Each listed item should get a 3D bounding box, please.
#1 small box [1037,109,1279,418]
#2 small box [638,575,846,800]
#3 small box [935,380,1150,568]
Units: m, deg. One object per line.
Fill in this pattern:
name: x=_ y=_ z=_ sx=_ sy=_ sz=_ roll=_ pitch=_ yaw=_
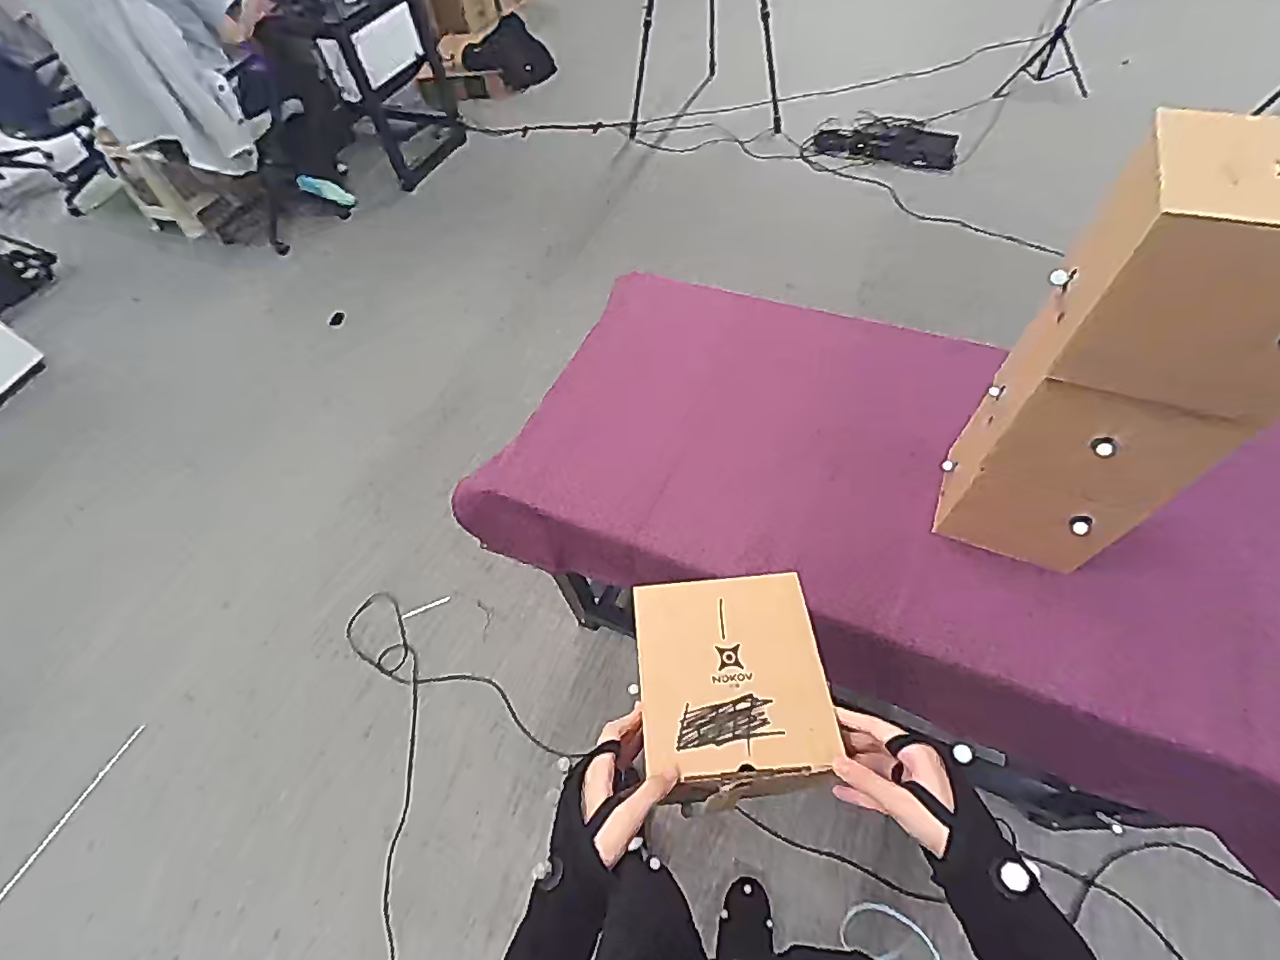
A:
small box: x=0.484 y=-0.177 z=0.459 sx=0.179 sy=0.176 sz=0.168 roll=19 pitch=60 yaw=18
small box: x=0.090 y=0.218 z=0.553 sx=0.168 sy=0.176 sz=0.179 roll=-5 pitch=52 yaw=1
small box: x=0.533 y=-0.002 z=0.732 sx=0.179 sy=0.176 sz=0.168 roll=19 pitch=60 yaw=18
